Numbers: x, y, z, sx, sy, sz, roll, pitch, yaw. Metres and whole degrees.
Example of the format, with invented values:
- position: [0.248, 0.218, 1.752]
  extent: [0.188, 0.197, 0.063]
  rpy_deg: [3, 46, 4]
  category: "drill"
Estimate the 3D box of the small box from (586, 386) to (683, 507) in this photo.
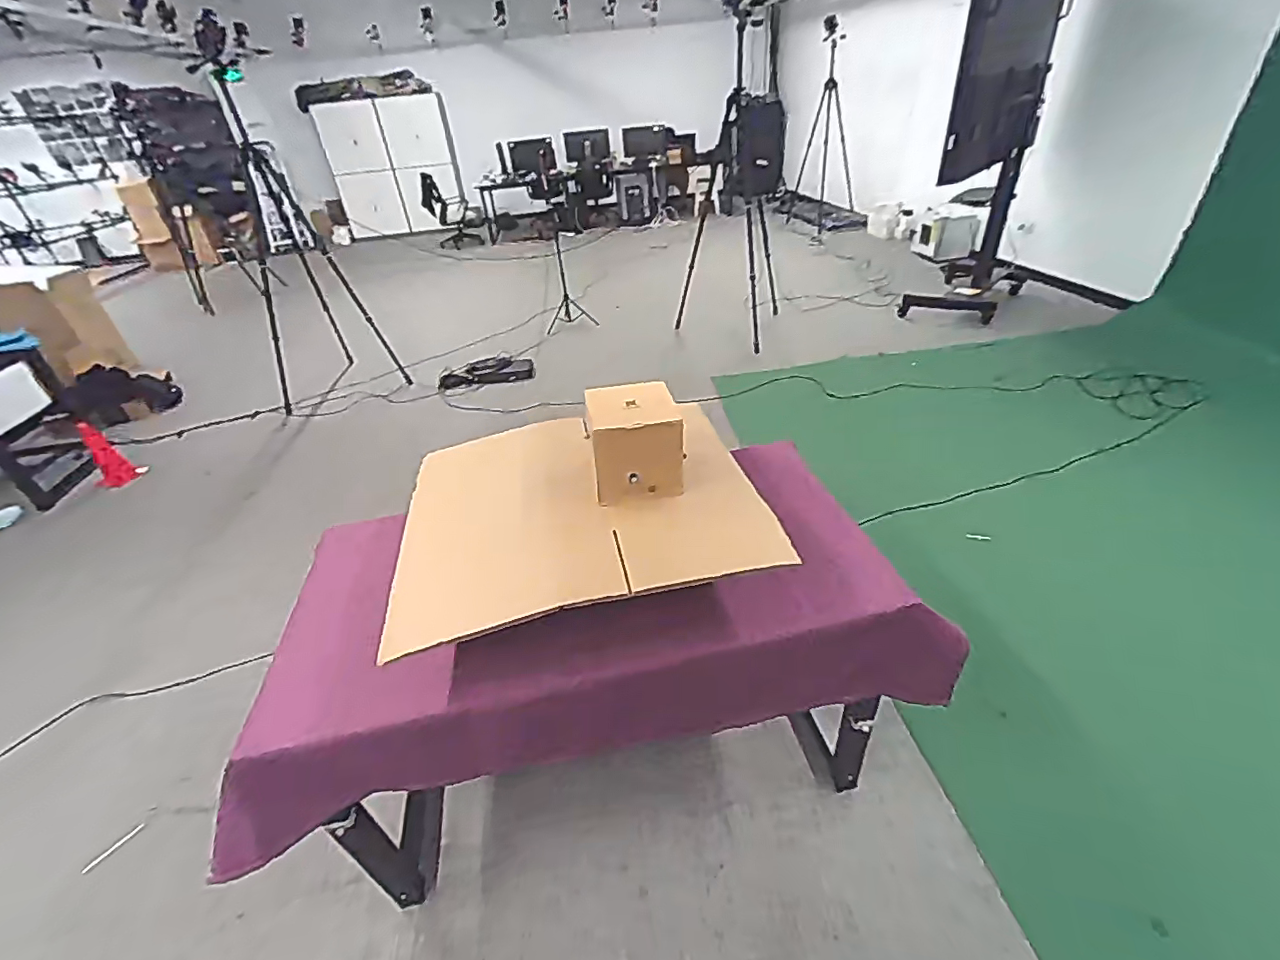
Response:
- position: [-0.013, -0.068, 1.074]
  extent: [0.168, 0.176, 0.179]
  rpy_deg: [-8, 36, -6]
  category: "small box"
